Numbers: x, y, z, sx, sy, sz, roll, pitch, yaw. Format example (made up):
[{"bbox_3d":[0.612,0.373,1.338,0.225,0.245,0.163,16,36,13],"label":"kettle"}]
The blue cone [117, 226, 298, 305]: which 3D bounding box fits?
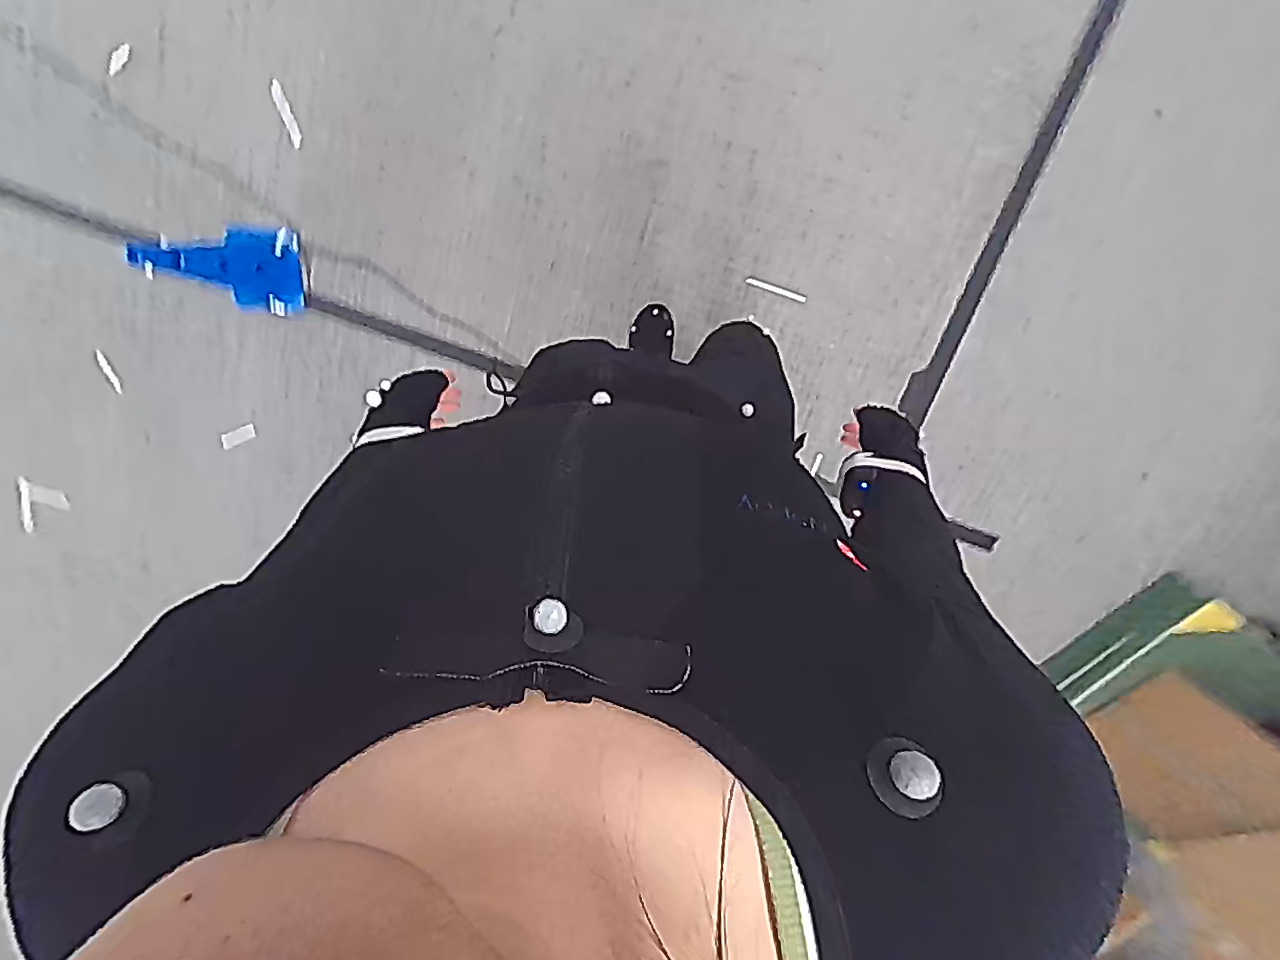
[{"bbox_3d":[-0.997,-0.507,1.234,0.192,0.380,0.193,4,106,5],"label":"blue cone"}]
